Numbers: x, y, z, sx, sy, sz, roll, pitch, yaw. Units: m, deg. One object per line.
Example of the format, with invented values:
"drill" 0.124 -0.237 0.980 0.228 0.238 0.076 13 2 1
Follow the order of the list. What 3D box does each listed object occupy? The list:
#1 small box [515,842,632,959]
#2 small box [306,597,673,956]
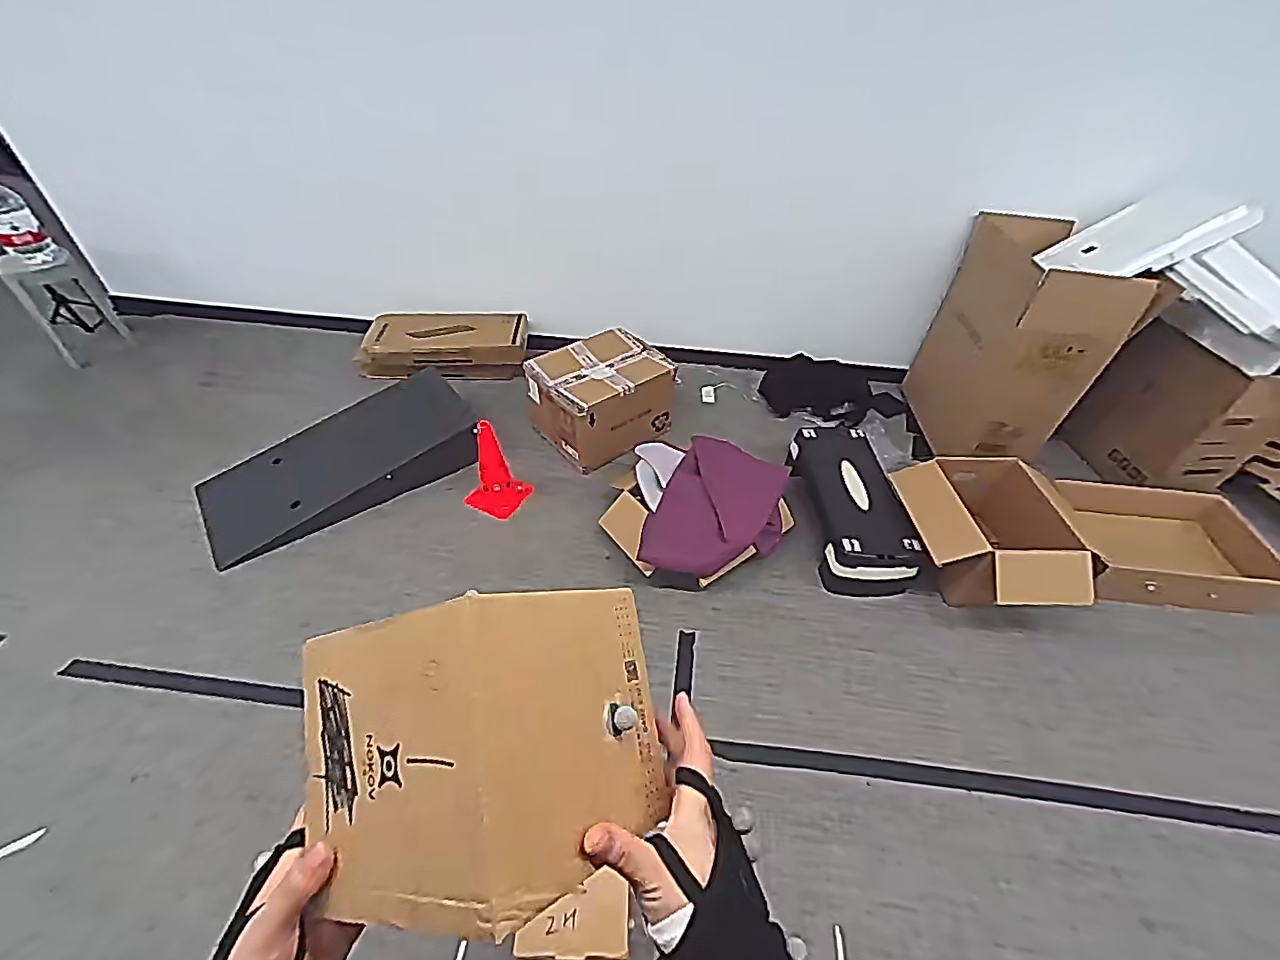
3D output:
"small box" -0.097 0.683 0.878 0.168 0.176 0.179 1 44 0
"small box" -0.102 0.179 0.379 0.179 0.176 0.168 -20 71 28
